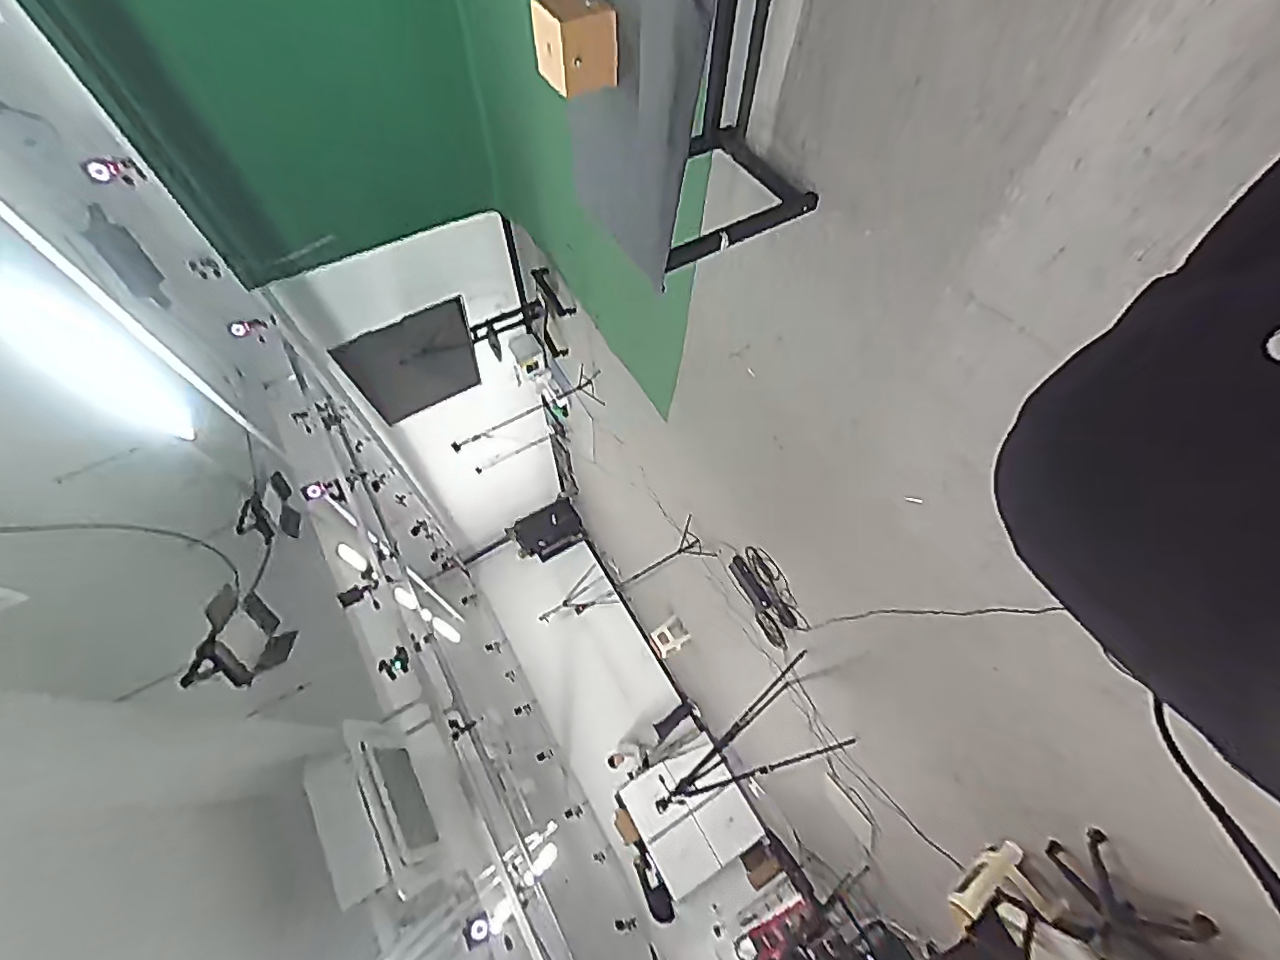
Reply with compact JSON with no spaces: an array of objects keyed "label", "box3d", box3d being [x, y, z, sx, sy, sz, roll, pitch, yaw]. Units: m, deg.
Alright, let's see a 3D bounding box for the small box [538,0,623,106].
[{"label":"small box","box3d":[-0.155,-1.167,1.466,0.168,0.176,0.179,54,161,23]}]
